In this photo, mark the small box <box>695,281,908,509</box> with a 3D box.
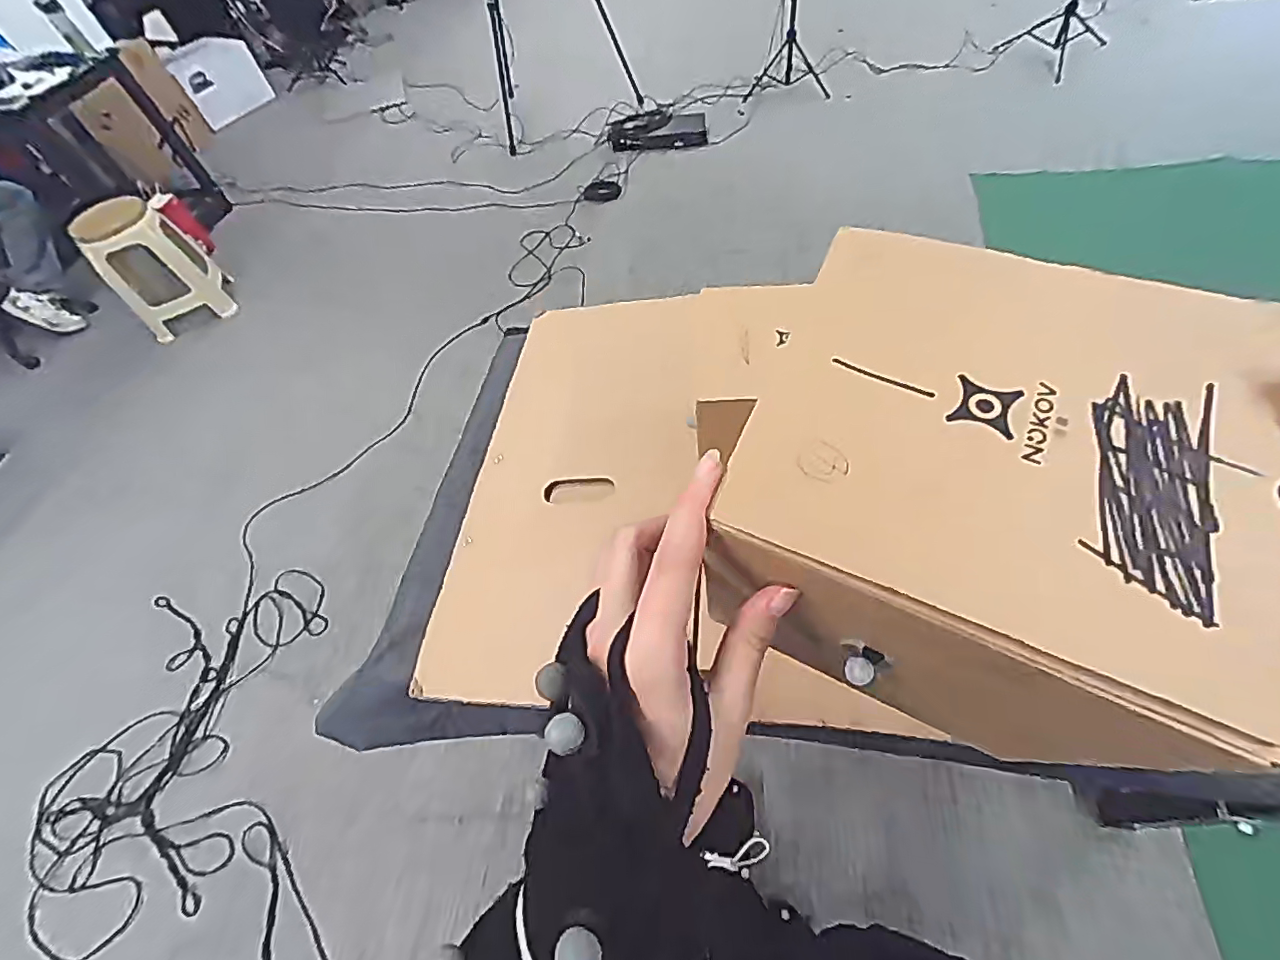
[{"bbox_3d":[0.150,-0.082,0.560,0.179,0.176,0.168,0,53,9],"label":"small box"}]
